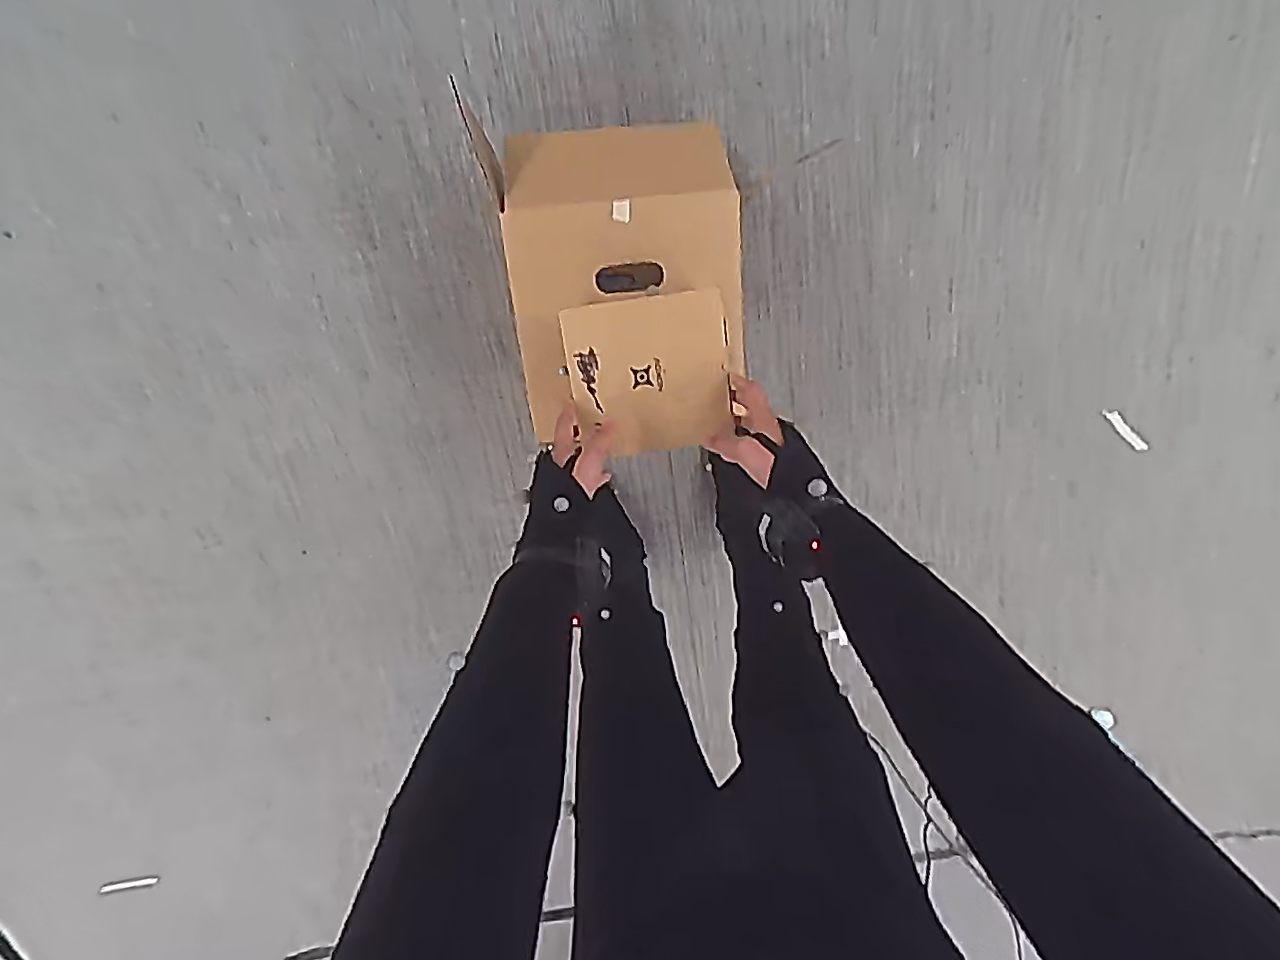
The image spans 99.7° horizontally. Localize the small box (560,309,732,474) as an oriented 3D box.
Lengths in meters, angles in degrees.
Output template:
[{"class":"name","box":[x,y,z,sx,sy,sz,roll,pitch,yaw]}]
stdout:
[{"class":"small box","box":[0.008,-0.118,0.669,0.179,0.176,0.168,-8,107,1]}]
